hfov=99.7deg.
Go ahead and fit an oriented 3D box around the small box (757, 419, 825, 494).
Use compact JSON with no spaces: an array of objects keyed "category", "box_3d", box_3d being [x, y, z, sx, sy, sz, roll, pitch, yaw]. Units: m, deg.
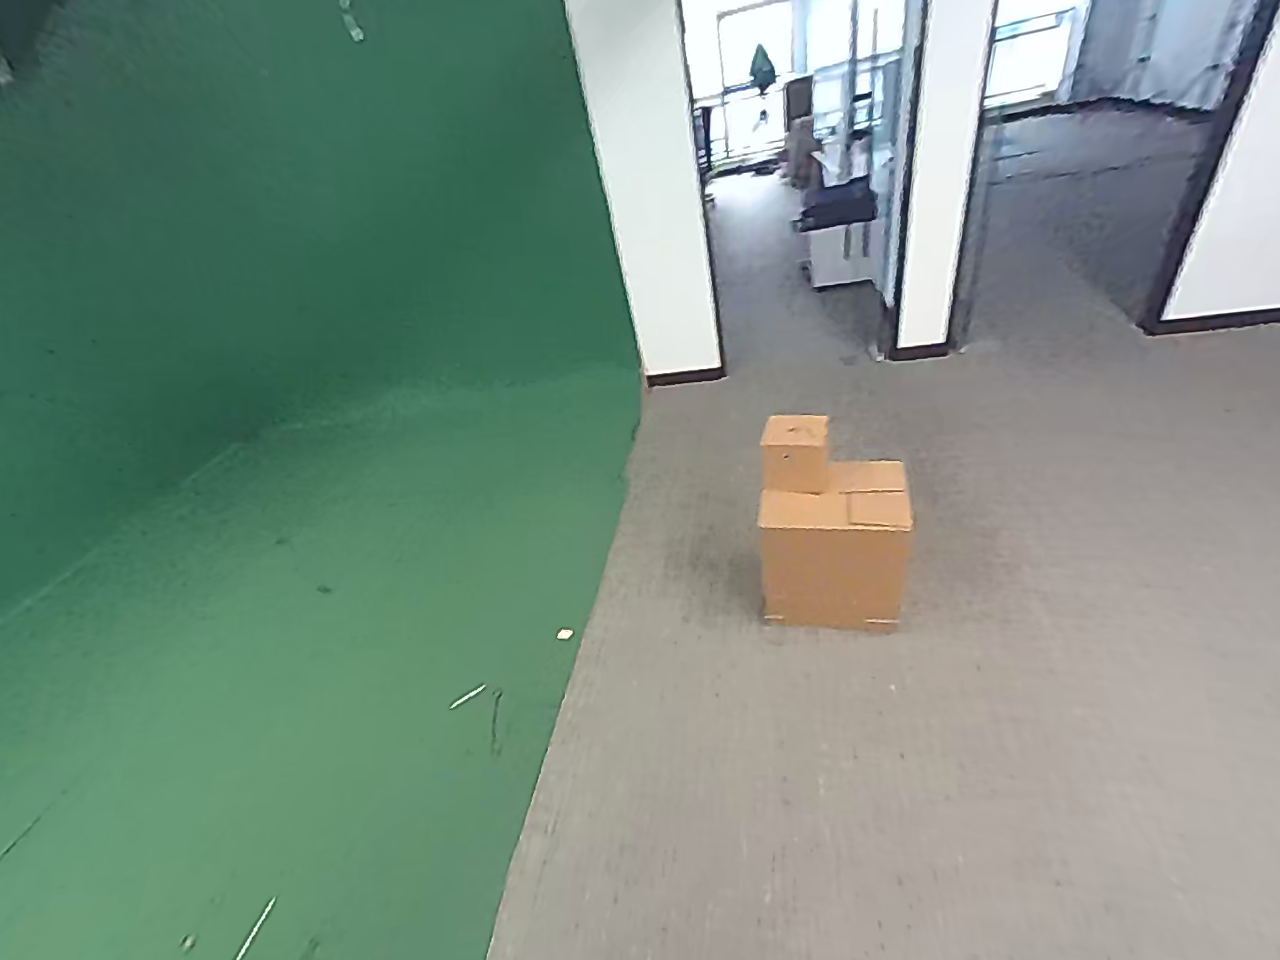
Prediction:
[{"category":"small box","box_3d":[0.461,-0.071,1.635,0.179,0.176,0.168,3,39,23]}]
